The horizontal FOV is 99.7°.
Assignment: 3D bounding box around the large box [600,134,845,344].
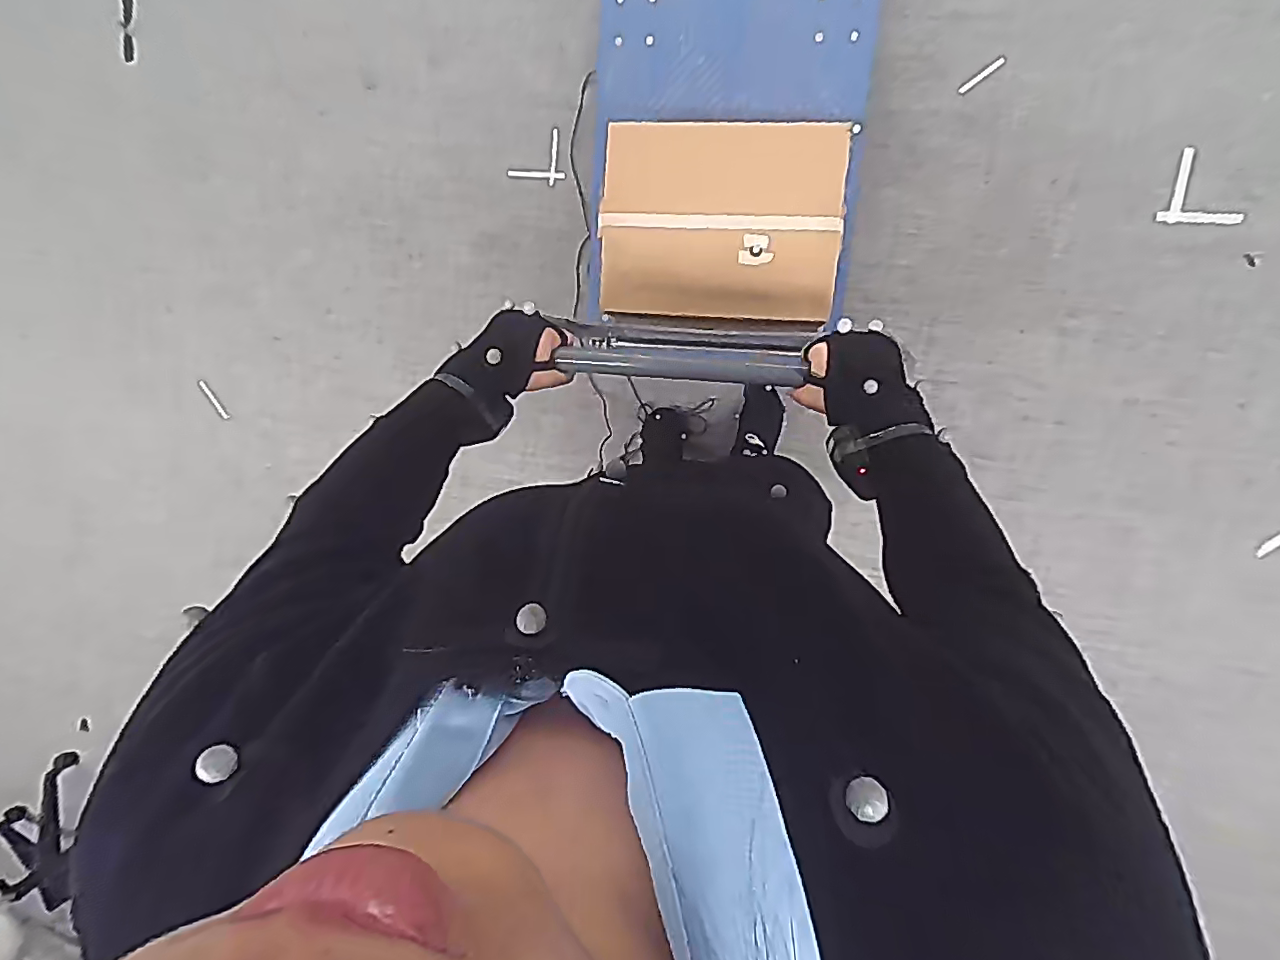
[{"bbox_3d":[0.147,-0.445,1.067,0.408,0.320,0.320,5,101,7],"label":"large box"}]
